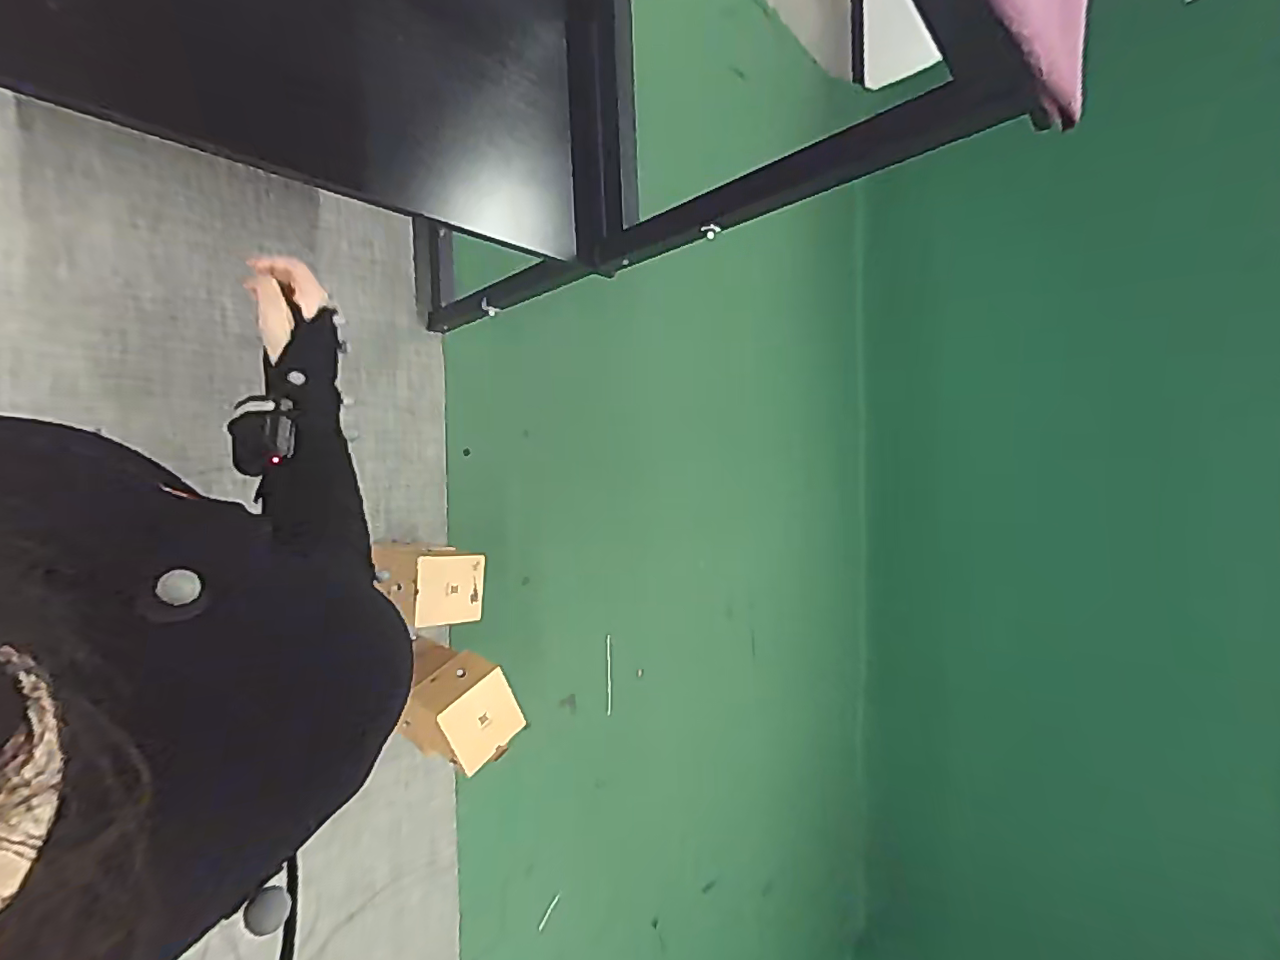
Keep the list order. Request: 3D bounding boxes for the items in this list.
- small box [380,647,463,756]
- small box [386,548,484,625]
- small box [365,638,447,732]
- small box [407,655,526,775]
[{"bbox_3d":[-0.520,0.538,1.350,0.168,0.176,0.179,-29,112,-40],"label":"small box"},{"bbox_3d":[-0.514,0.260,1.350,0.179,0.176,0.168,7,85,-46],"label":"small box"},{"bbox_3d":[-0.629,0.544,1.471,0.168,0.176,0.179,-12,100,-45],"label":"small box"},{"bbox_3d":[-0.400,0.524,1.240,0.168,0.176,0.179,-35,115,-39],"label":"small box"}]
